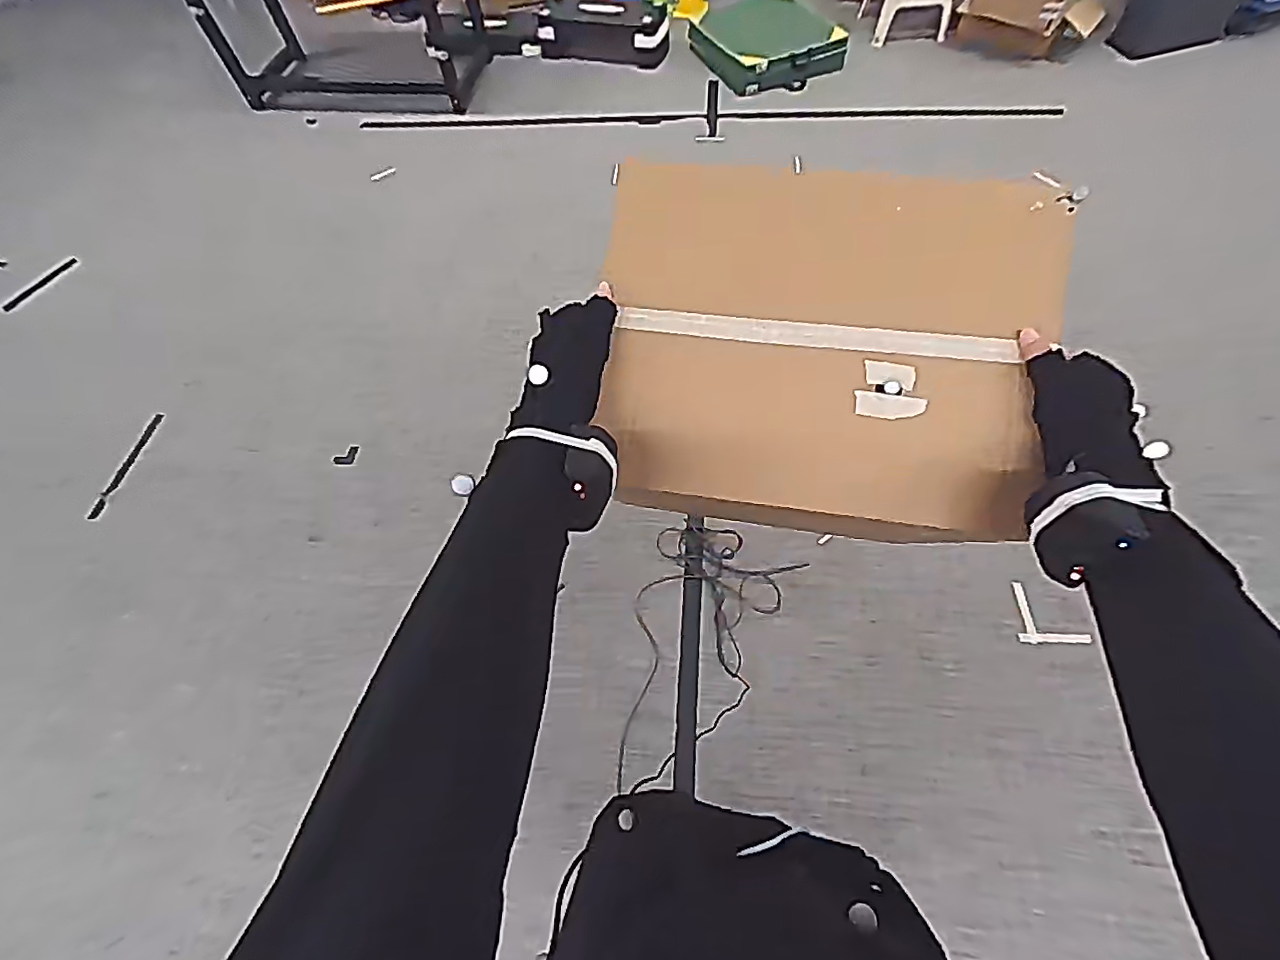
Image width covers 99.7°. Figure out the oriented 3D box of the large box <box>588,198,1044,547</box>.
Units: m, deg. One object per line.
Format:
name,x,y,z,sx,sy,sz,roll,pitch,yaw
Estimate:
large box,0.175,-0.096,0.655,0.408,0.320,0.320,7,85,6
